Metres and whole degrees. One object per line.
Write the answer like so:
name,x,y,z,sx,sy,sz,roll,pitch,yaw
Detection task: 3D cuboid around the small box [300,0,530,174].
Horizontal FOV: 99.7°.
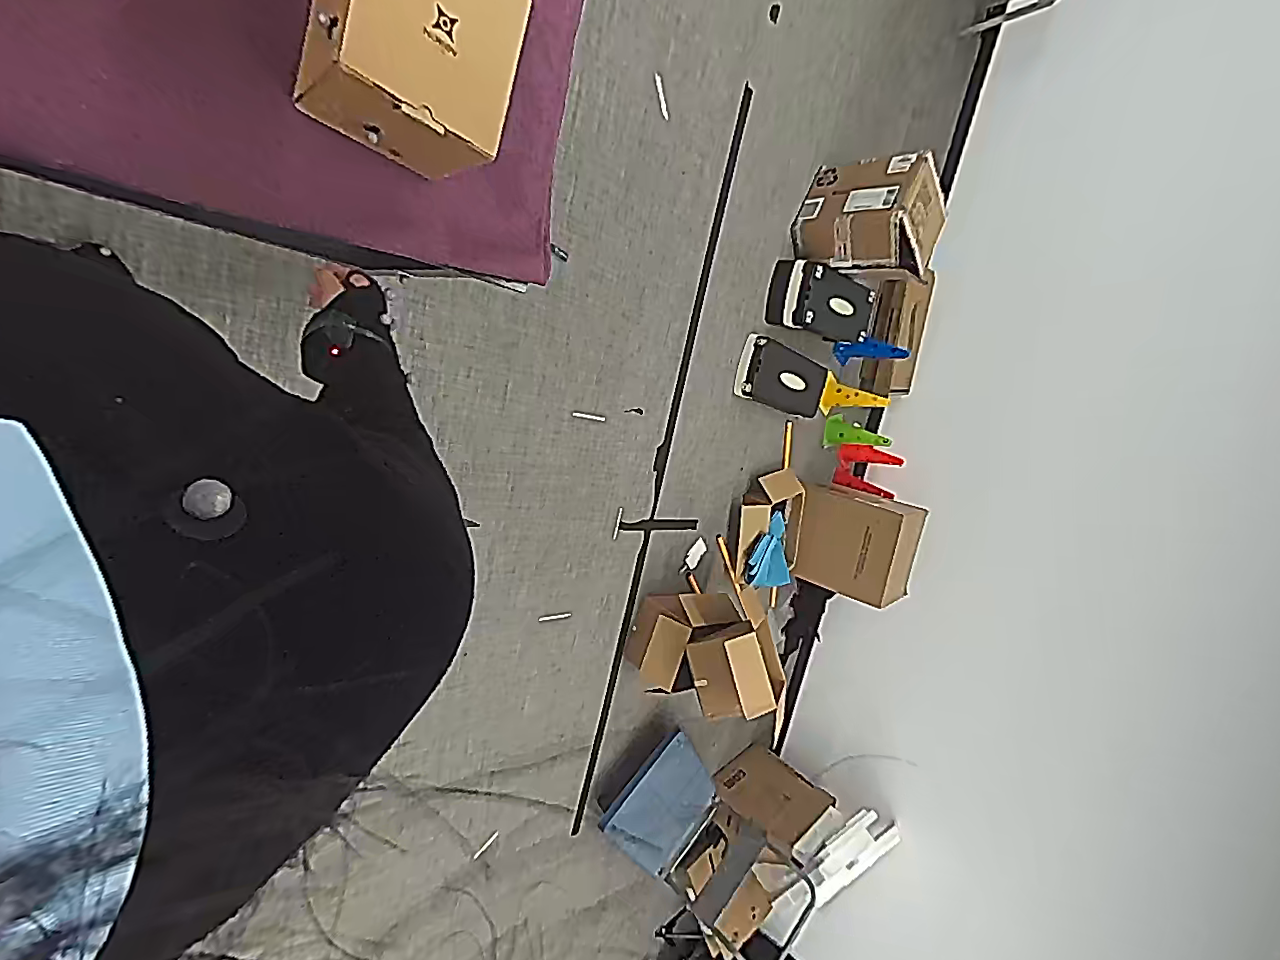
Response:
small box,-0.251,-0.471,0.595,0.168,0.176,0.179,9,98,-46
